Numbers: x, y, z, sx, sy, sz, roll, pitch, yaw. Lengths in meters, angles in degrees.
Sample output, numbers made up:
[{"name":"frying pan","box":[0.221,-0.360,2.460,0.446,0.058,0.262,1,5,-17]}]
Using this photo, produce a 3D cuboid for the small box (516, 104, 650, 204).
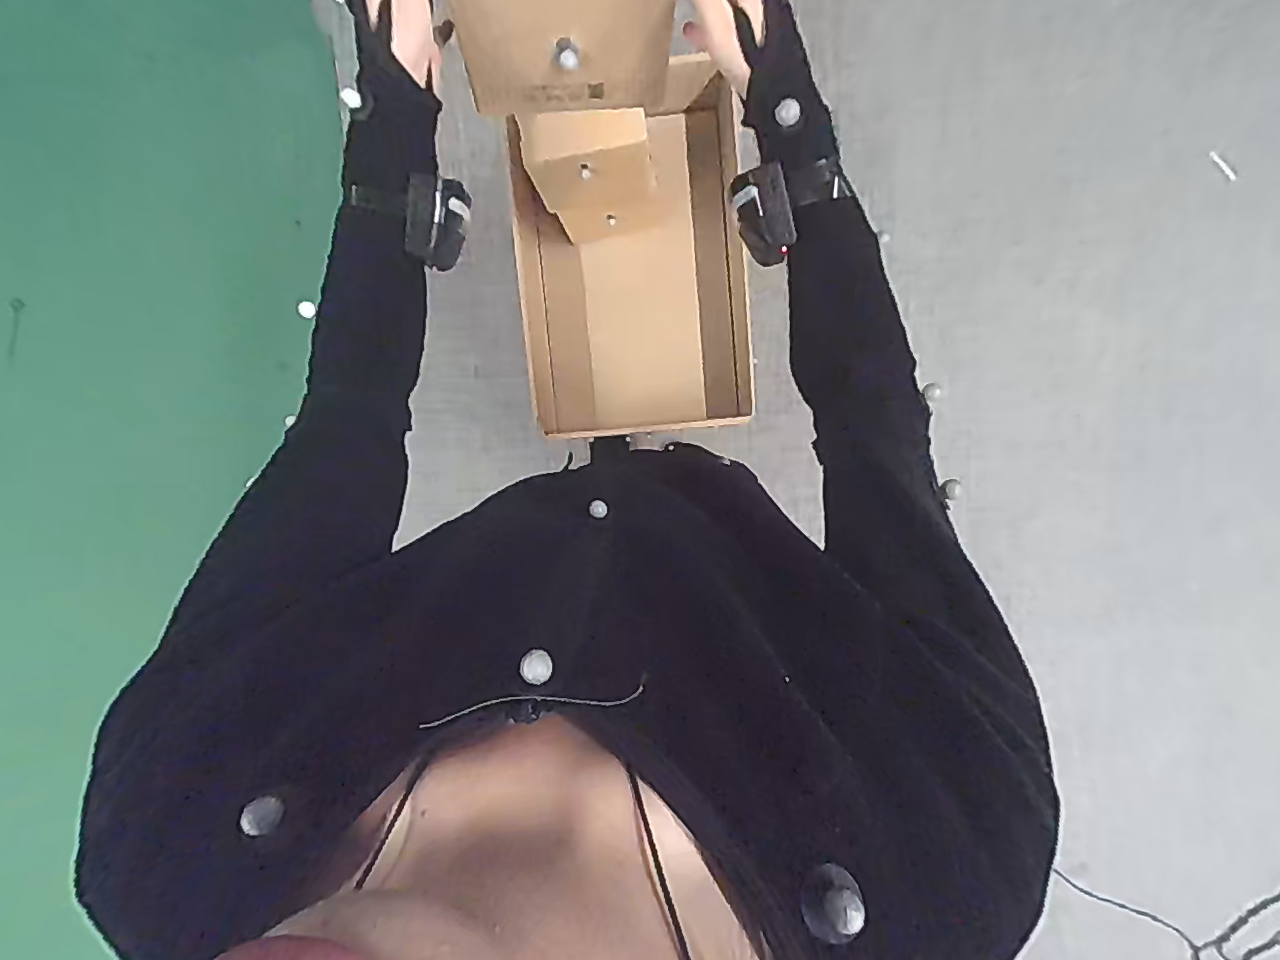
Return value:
[{"name":"small box","box":[-0.081,-0.539,0.806,0.179,0.176,0.168,-9,95,5]}]

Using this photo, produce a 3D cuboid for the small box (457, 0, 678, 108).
[{"name":"small box","box":[-0.061,-0.428,0.412,0.168,0.176,0.179,-6,79,-4]}]
